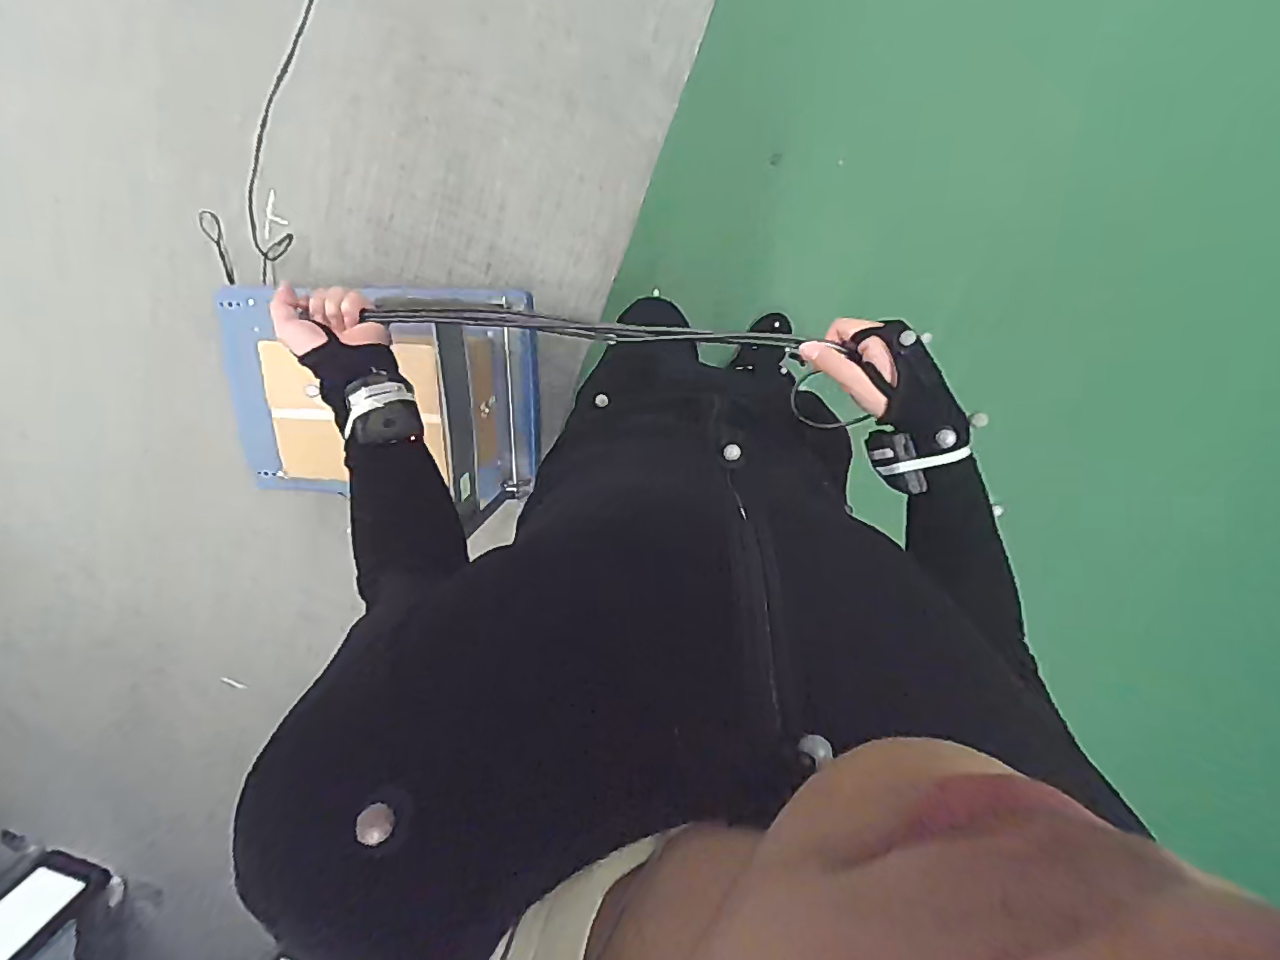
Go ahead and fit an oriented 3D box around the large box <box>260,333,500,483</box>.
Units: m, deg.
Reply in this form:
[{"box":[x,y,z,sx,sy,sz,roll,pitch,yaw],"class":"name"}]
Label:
[{"box":[-0.598,-0.191,1.318,0.408,0.320,0.320,3,107,7],"class":"large box"}]
